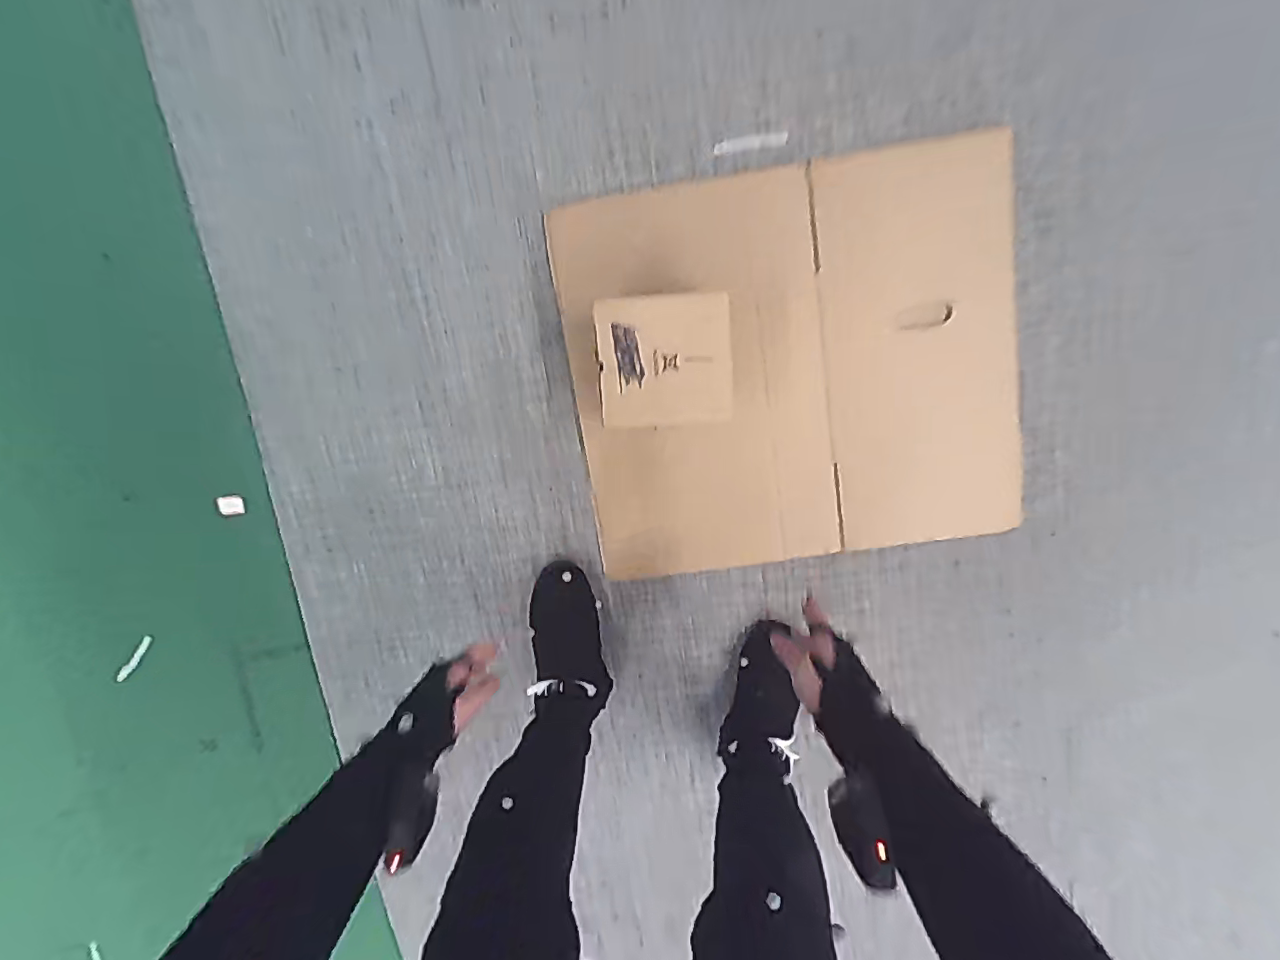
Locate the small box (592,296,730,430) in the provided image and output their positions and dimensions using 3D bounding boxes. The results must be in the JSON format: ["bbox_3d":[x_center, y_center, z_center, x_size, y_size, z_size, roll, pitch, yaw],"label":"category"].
[{"bbox_3d":[0.032,-0.164,0.786,0.179,0.176,0.168,-4,101,2],"label":"small box"}]
